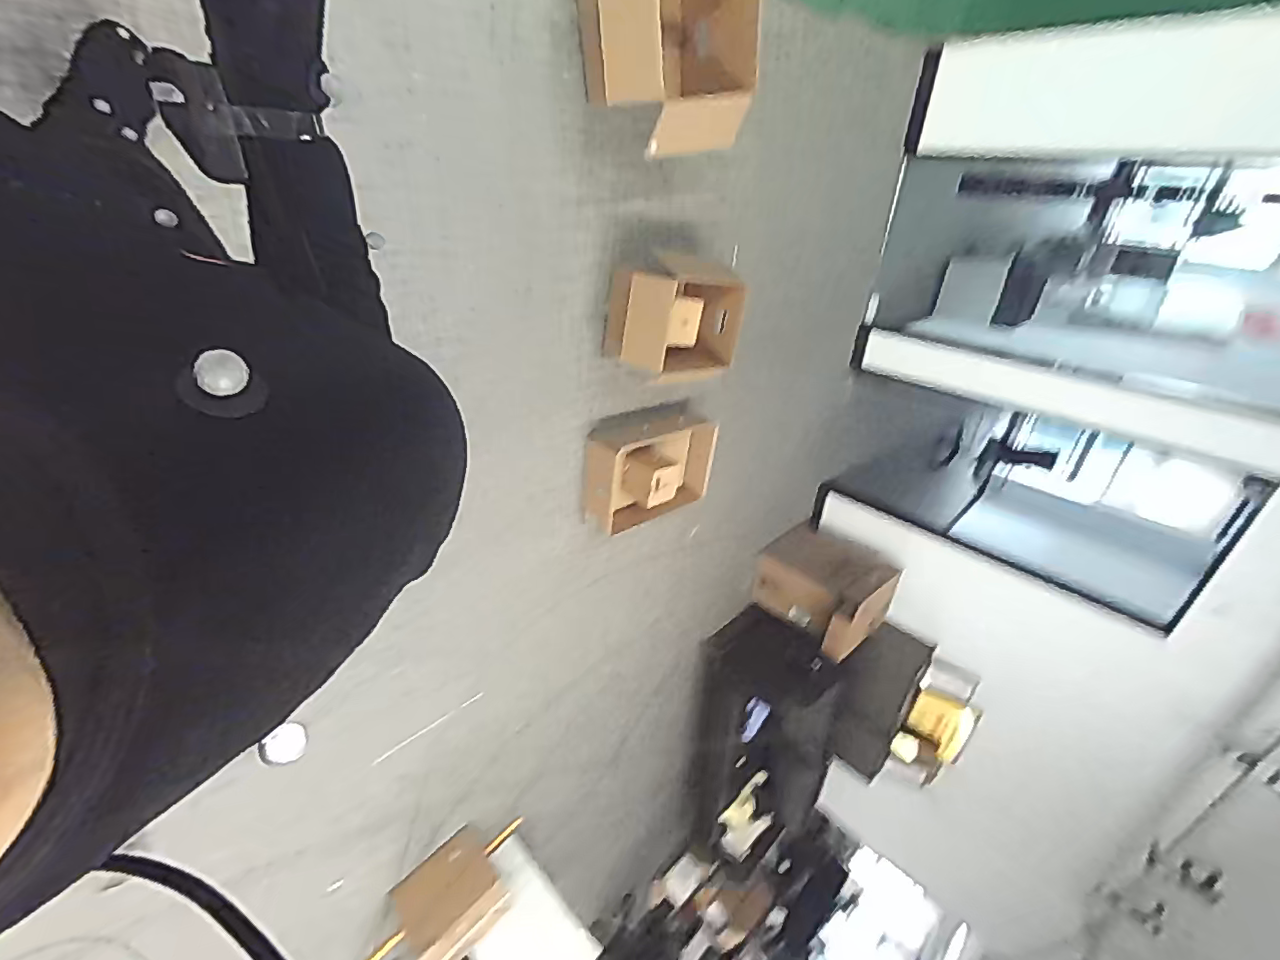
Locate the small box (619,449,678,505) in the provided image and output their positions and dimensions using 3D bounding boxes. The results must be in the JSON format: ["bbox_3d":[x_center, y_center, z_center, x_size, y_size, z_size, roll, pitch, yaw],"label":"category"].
[{"bbox_3d":[0.032,-0.016,2.280,0.179,0.176,0.168,-18,126,-45],"label":"small box"}]
